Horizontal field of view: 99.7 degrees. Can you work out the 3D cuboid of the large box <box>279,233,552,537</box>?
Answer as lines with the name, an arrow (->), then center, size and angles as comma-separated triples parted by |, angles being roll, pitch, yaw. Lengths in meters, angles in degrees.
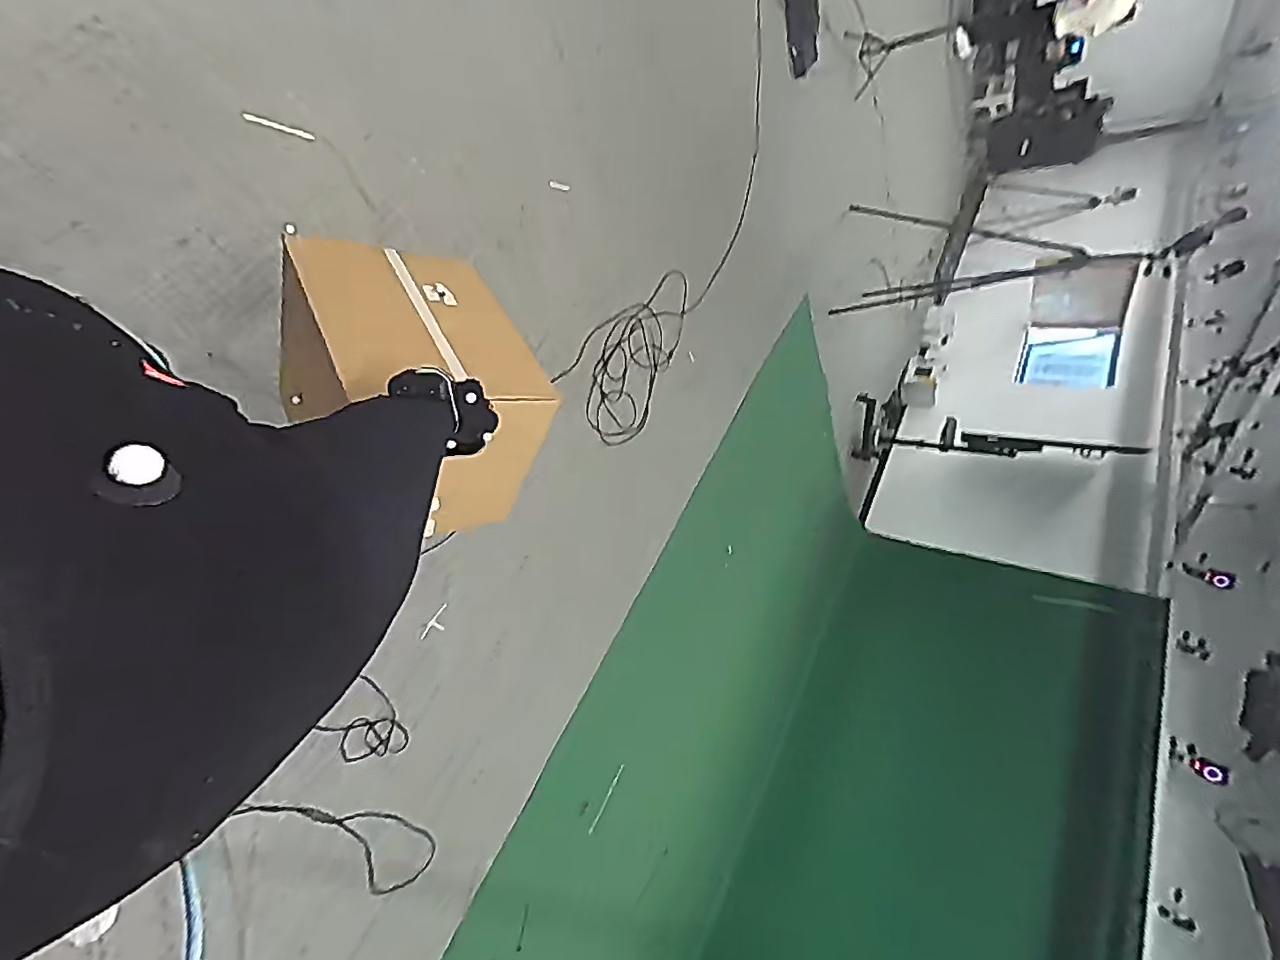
large box -> -0.418, -0.165, 0.959 | 0.320, 0.408, 0.320 | -7, 142, -42
